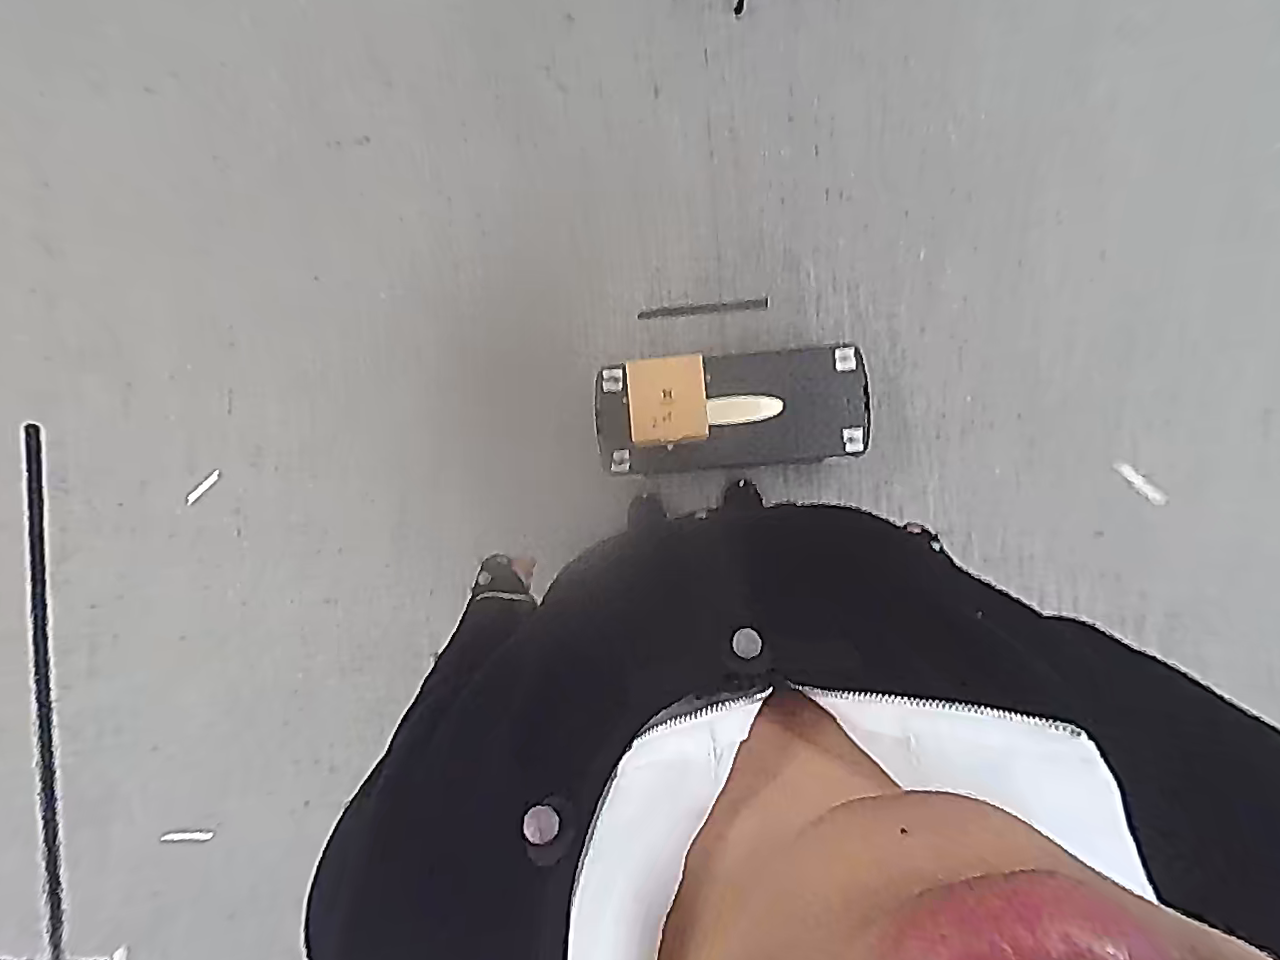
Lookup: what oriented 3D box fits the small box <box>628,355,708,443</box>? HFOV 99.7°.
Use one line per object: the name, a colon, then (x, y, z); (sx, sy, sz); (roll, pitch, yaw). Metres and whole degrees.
small box: (0.060, -0.173, 1.231); (0.168, 0.176, 0.179); (-5, 90, 3)
